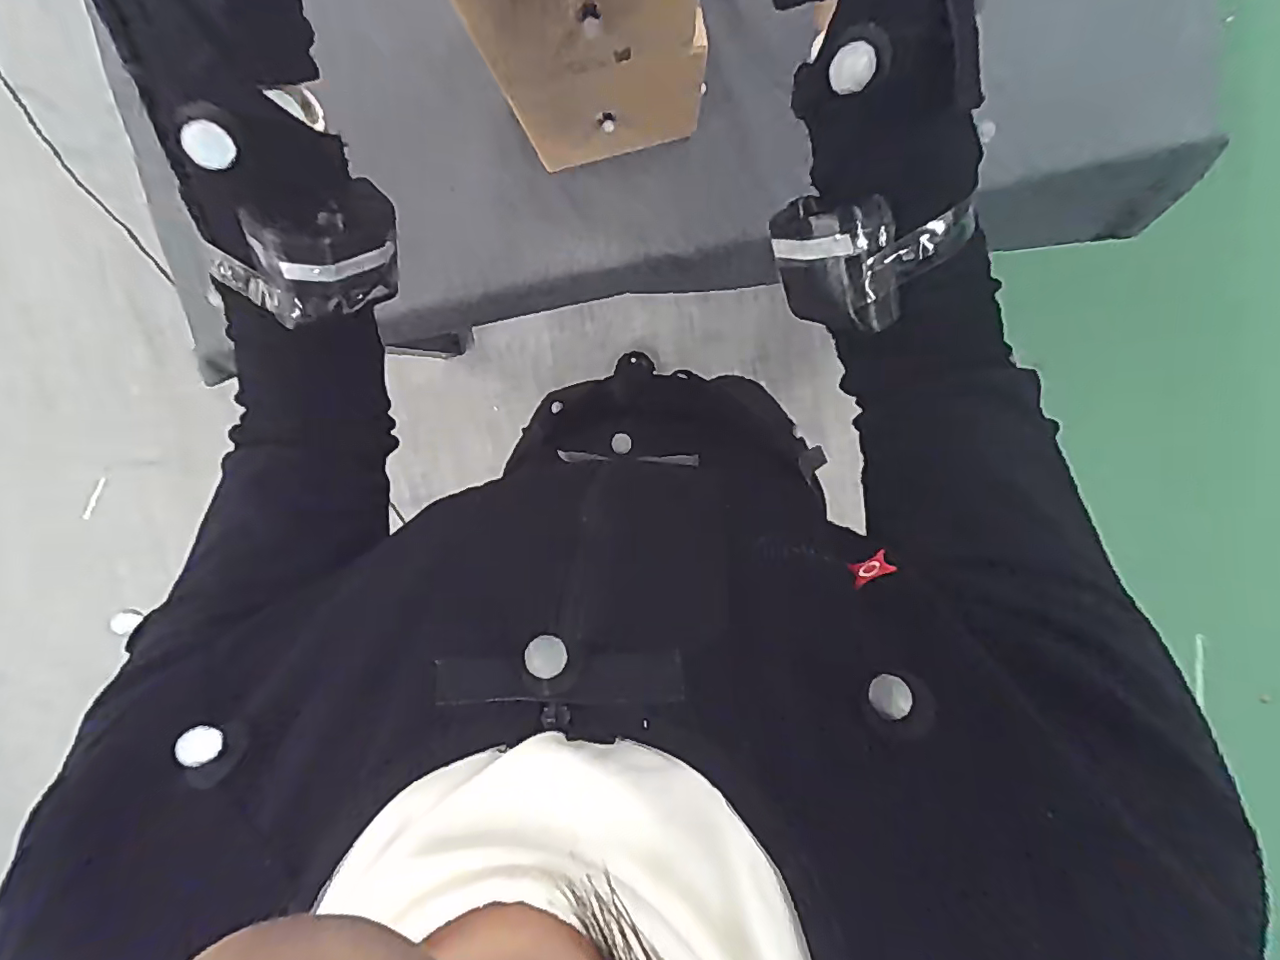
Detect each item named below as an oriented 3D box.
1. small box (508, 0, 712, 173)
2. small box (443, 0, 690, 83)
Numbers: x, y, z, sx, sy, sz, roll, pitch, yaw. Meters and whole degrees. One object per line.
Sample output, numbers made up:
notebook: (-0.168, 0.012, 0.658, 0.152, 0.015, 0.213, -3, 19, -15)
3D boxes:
small box: (-0.043, -0.430, 0.520, 0.179, 0.176, 0.168, -15, 100, 4)
small box: (-0.059, -0.404, 0.359, 0.168, 0.176, 0.179, -12, 100, 5)
